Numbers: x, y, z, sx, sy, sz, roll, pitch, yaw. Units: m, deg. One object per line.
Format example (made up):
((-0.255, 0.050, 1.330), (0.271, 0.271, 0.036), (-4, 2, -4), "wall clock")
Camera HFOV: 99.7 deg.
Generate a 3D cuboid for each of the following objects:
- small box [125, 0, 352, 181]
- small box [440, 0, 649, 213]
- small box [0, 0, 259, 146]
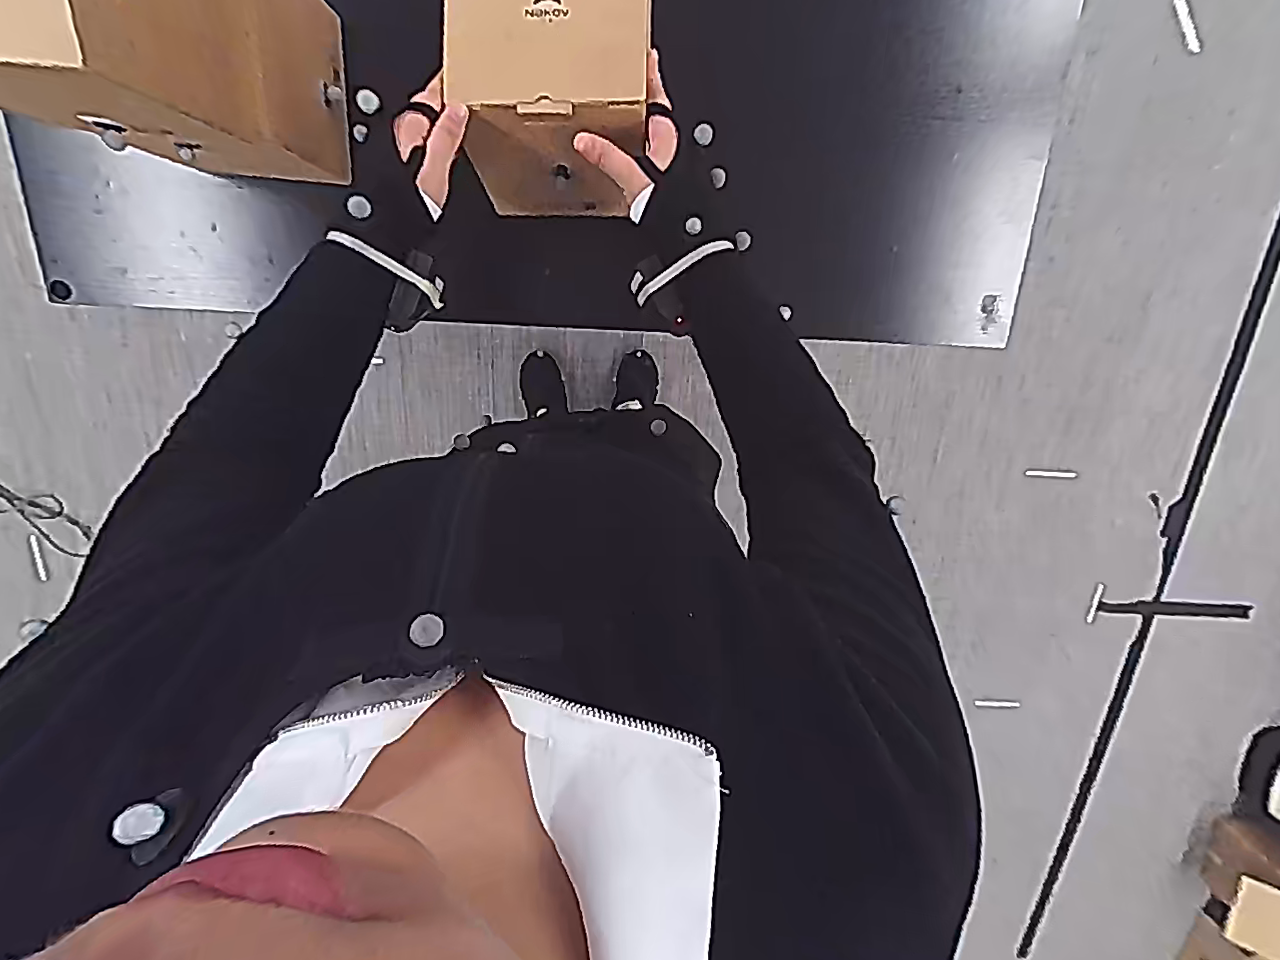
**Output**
((-0.414, -0.409, 0.531), (0.179, 0.176, 0.168), (3, 106, -5), "small box")
((-0.076, -0.379, 0.515), (0.168, 0.176, 0.179), (1, 86, 1), "small box")
((-0.408, -0.361, 0.376), (0.168, 0.176, 0.179), (3, 107, -2), "small box")
